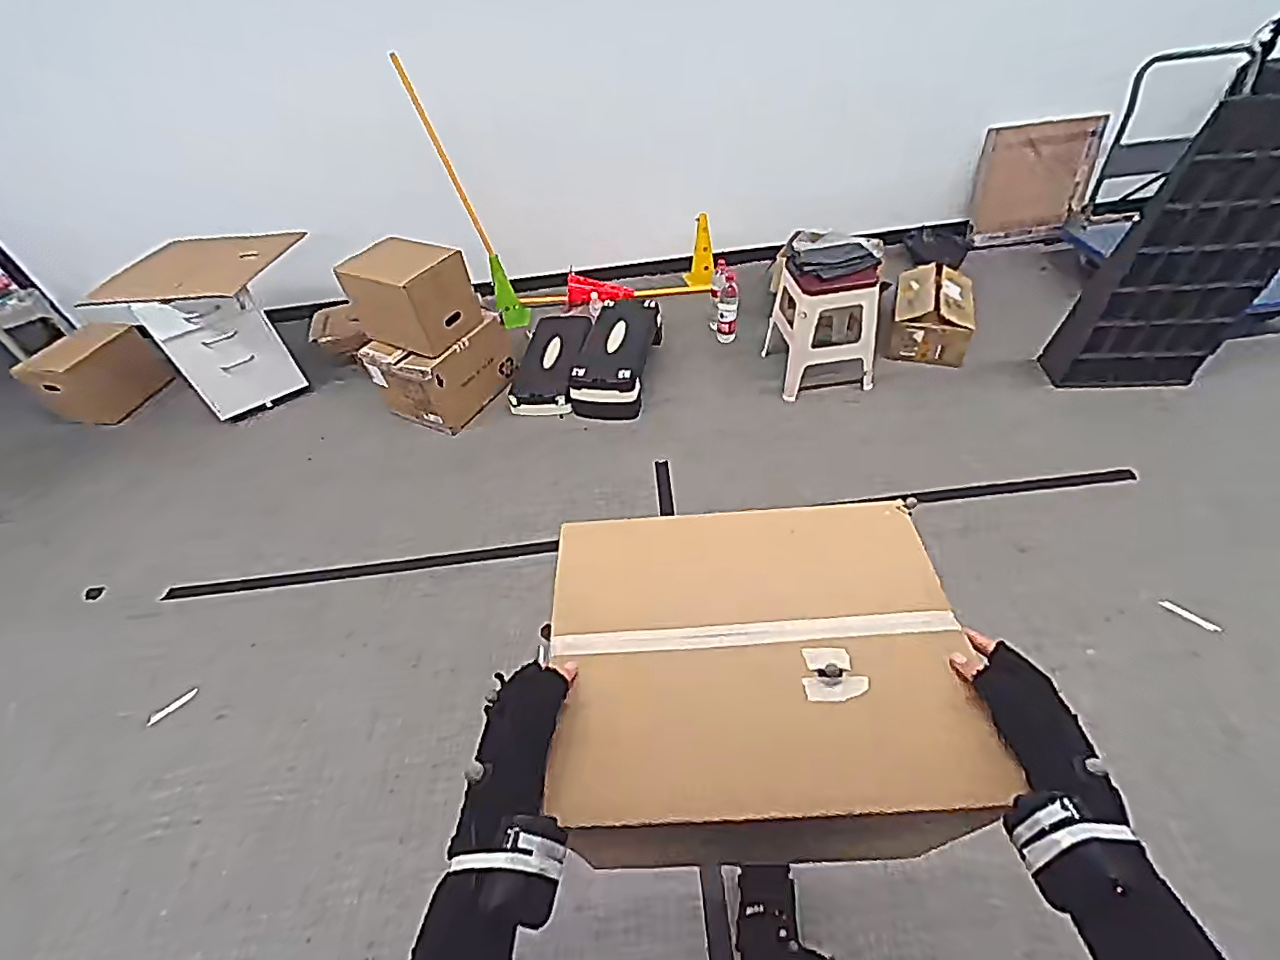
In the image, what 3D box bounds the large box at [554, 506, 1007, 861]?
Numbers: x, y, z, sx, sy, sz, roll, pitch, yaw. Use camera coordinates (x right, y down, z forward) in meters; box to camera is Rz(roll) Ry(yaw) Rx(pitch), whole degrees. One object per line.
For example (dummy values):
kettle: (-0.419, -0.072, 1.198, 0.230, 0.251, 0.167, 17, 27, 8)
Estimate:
large box: (0.123, 0.260, 0.676, 0.408, 0.320, 0.320, -4, 49, 2)
